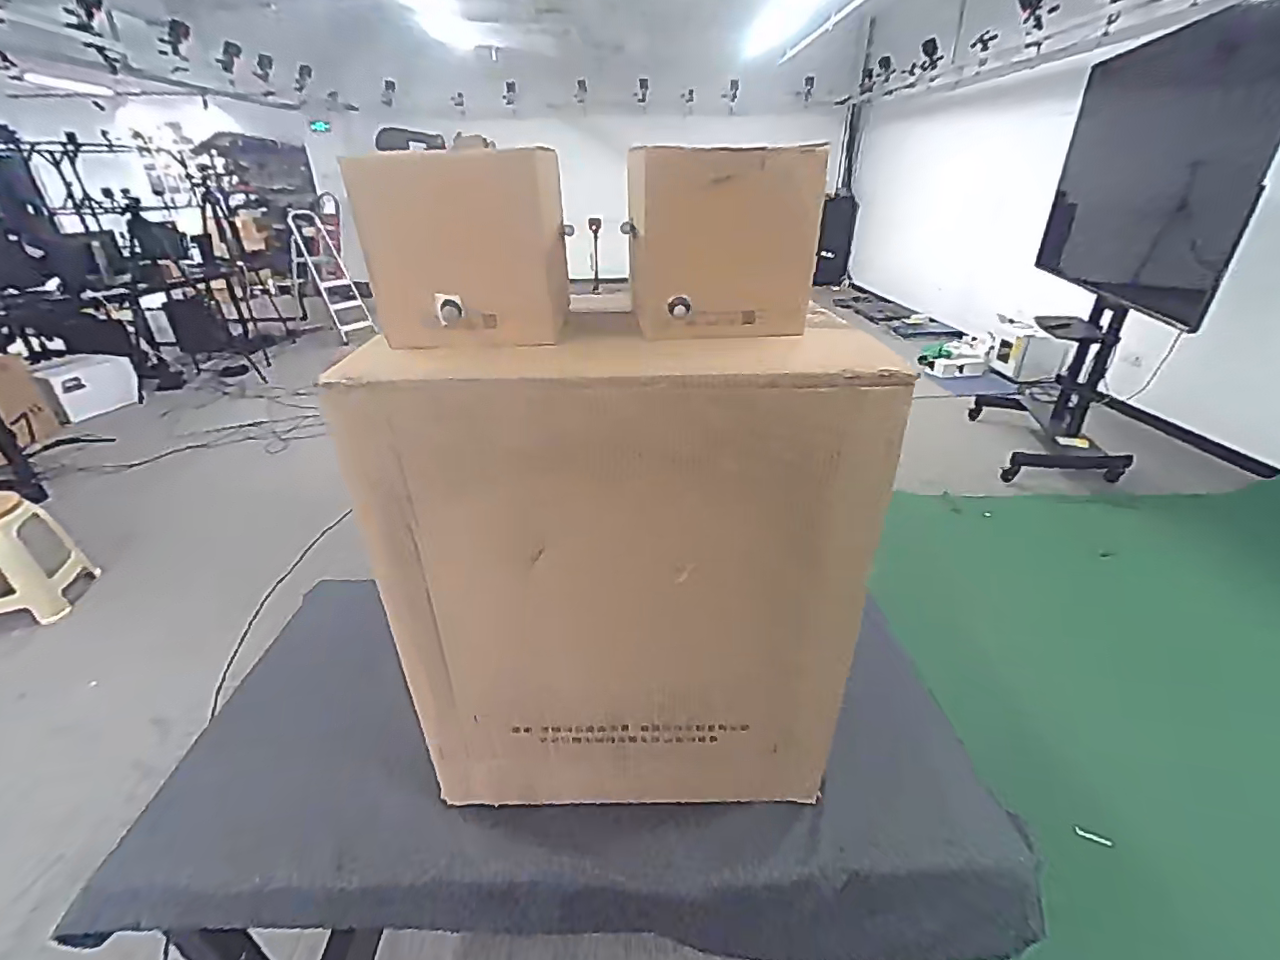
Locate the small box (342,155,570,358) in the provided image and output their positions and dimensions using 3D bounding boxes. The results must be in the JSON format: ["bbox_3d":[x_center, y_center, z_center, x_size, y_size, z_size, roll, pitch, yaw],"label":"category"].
[{"bbox_3d":[-0.167,-0.234,0.560,0.168,0.176,0.179,-4,32,0],"label":"small box"}]

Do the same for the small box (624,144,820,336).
[{"bbox_3d":[0.073,-0.255,0.577,0.168,0.176,0.179,-4,30,-5],"label":"small box"}]
